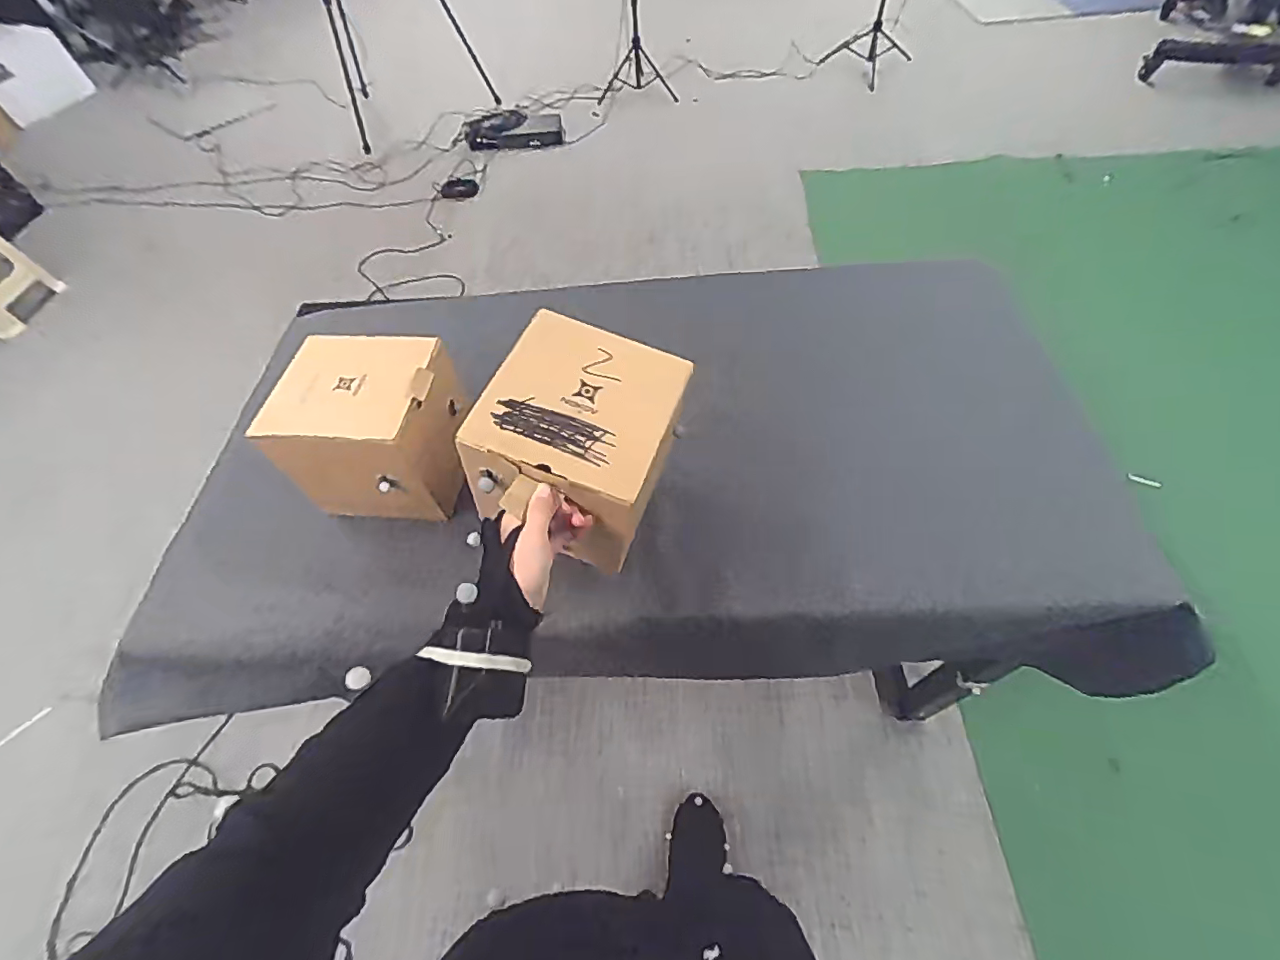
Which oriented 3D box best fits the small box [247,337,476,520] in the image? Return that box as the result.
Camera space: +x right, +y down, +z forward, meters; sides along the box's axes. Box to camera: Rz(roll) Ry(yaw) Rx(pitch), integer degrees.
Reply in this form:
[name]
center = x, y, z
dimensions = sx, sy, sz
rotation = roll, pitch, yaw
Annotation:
[small box]
center = -0.329, -0.061, 0.687
dimensions = 0.179, 0.176, 0.168
rotation = 1, 54, 6
